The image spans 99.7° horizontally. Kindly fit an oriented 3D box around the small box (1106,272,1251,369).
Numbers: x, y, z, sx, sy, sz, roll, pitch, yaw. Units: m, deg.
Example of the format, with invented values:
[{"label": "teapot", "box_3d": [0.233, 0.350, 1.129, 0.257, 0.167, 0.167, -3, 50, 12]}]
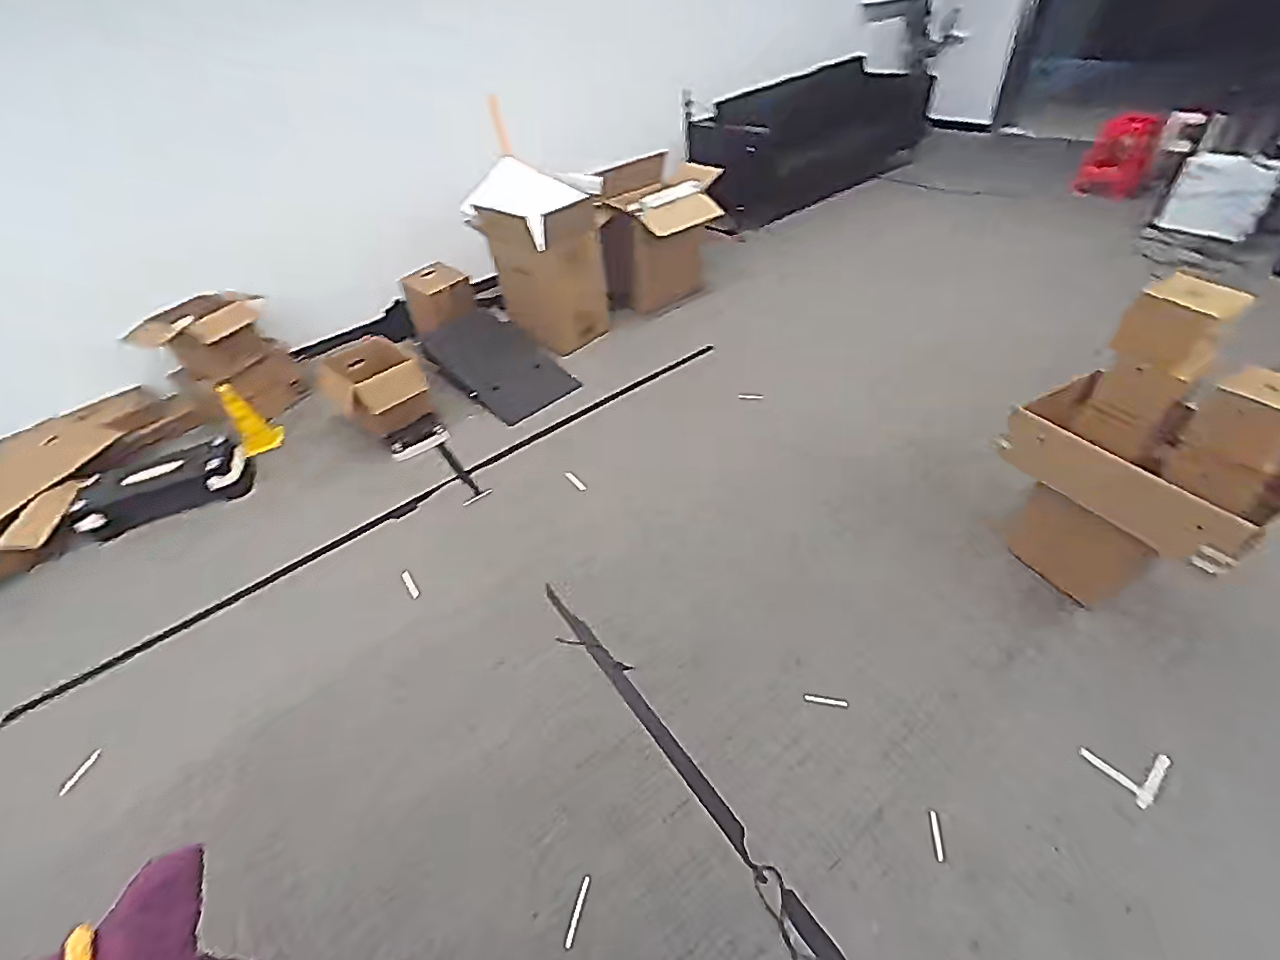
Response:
[{"label": "small box", "box_3d": [1.380, -0.407, 1.399, 0.168, 0.176, 0.179, -24, 46, -17]}]
